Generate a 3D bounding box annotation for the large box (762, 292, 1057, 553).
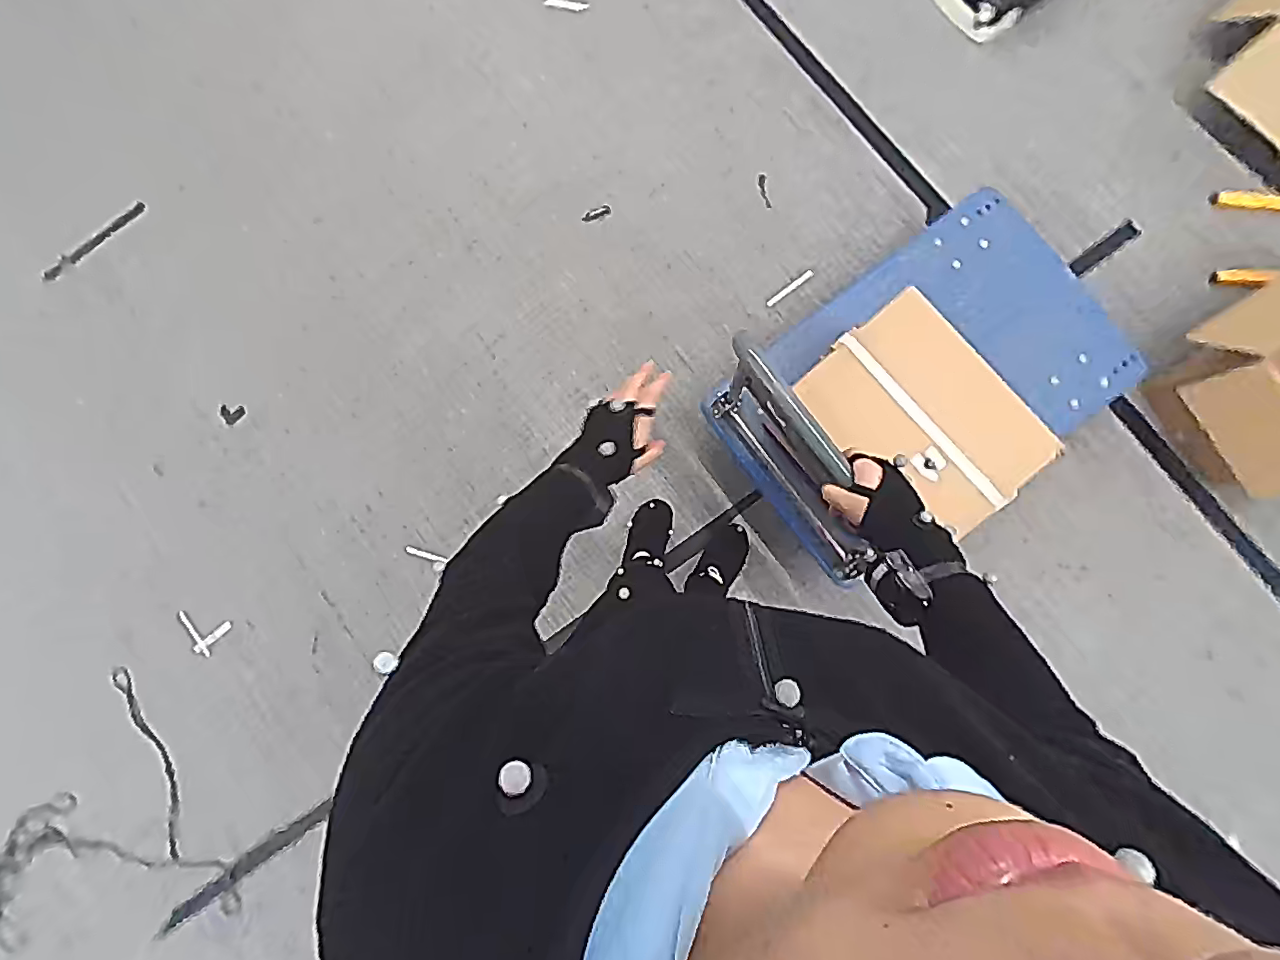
[{"bbox_3d":[0.524,-0.105,1.147,0.320,0.320,0.408,-41,86,2],"label":"large box"}]
